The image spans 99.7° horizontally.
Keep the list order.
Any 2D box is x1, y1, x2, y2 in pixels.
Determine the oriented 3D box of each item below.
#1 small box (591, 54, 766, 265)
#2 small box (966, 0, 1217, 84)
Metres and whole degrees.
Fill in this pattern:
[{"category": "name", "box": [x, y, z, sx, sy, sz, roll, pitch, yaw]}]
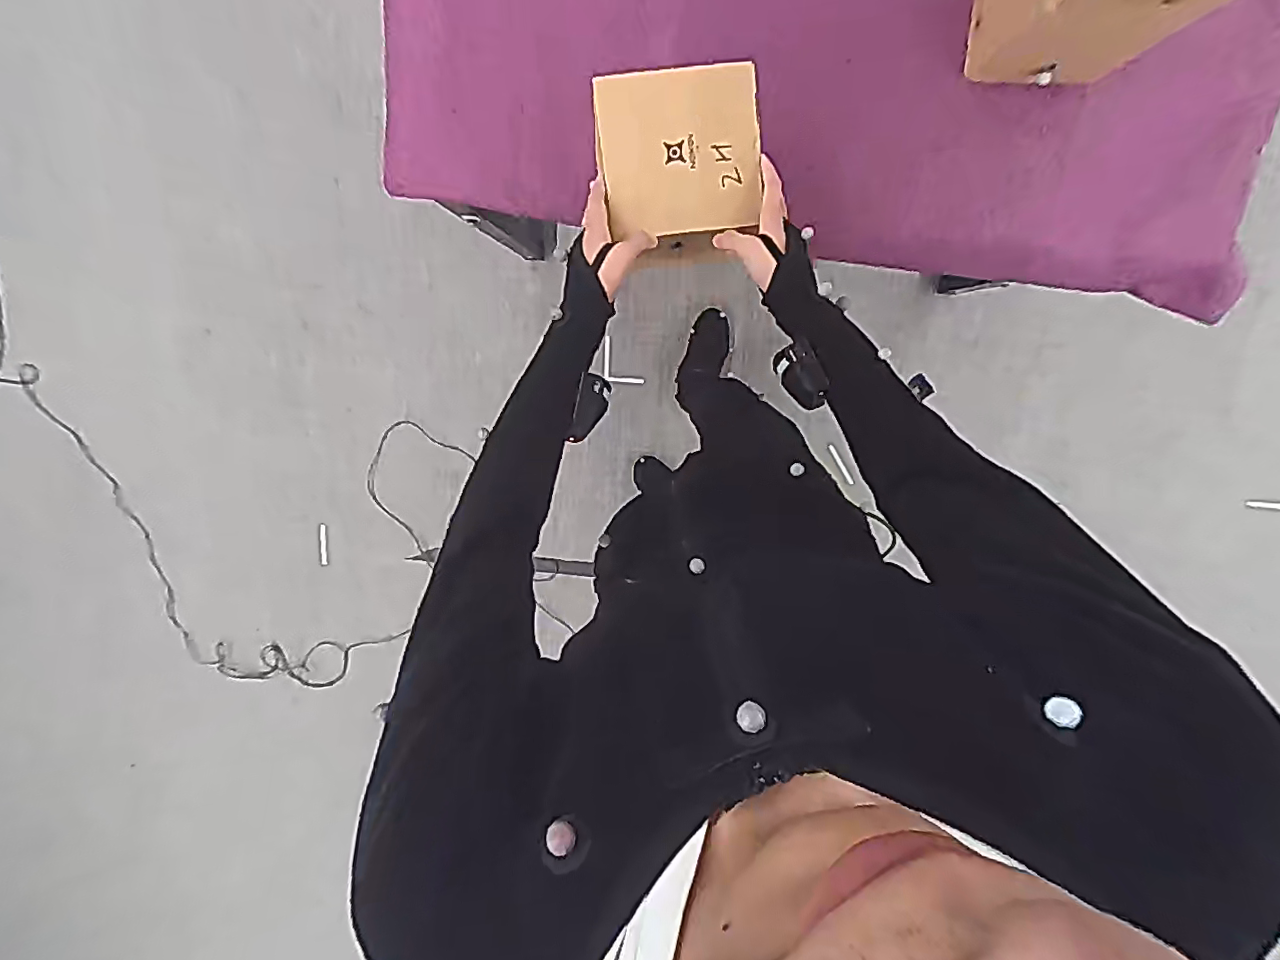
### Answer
[{"category": "small box", "box": [0.040, -0.367, 0.651, 0.179, 0.176, 0.168, -7, 100, -3]}, {"category": "small box", "box": [0.524, -0.593, 0.629, 0.179, 0.176, 0.168, 2, 103, 1]}]
